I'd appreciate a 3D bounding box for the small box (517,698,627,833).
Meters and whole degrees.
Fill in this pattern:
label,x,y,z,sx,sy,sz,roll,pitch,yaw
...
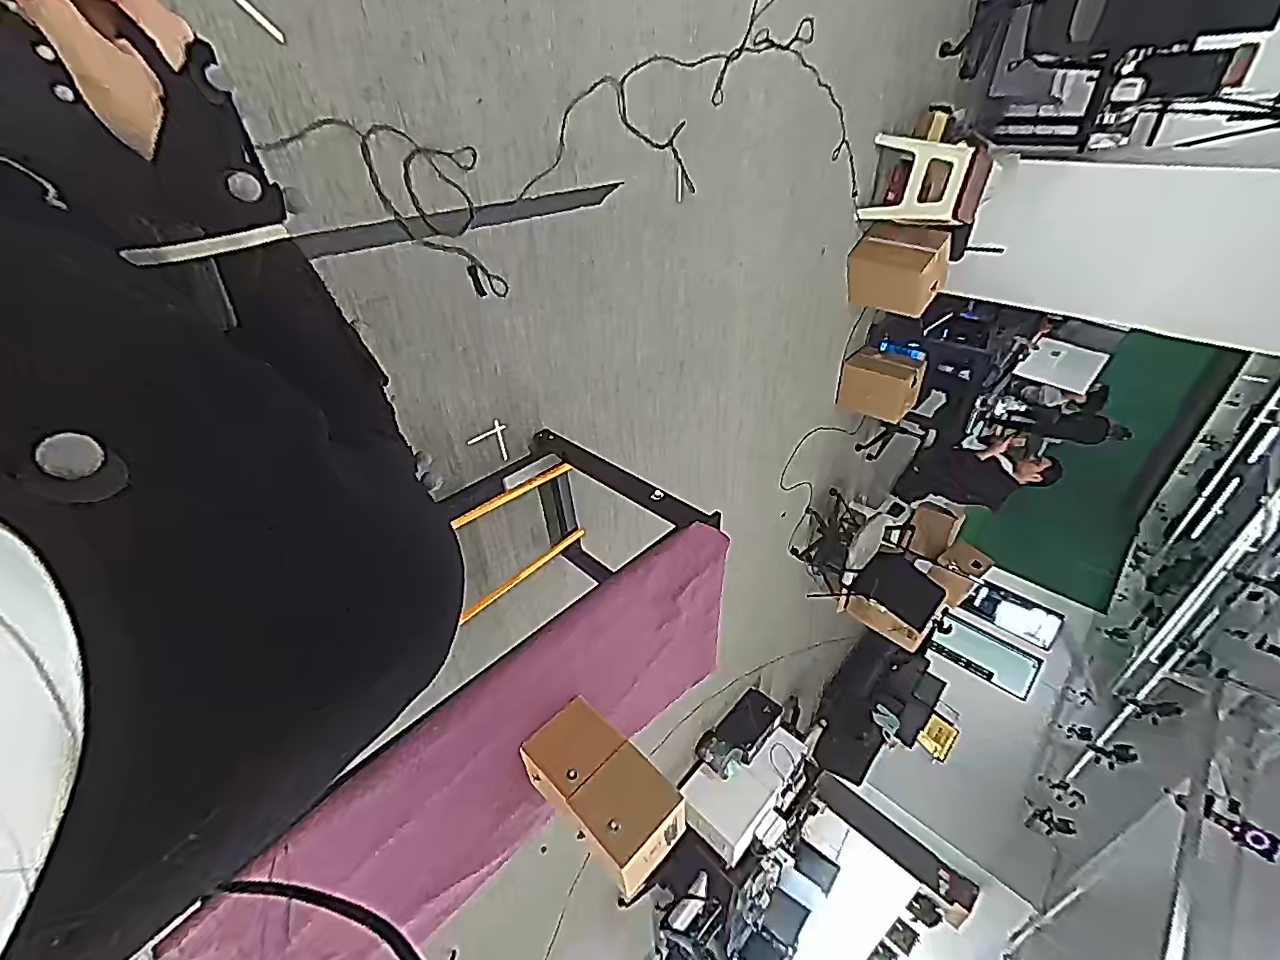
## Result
label,x,y,z,sx,sy,sz,roll,pitch,yaw
small box,-0.150,0.634,1.220,0.179,0.176,0.168,-32,135,-34
